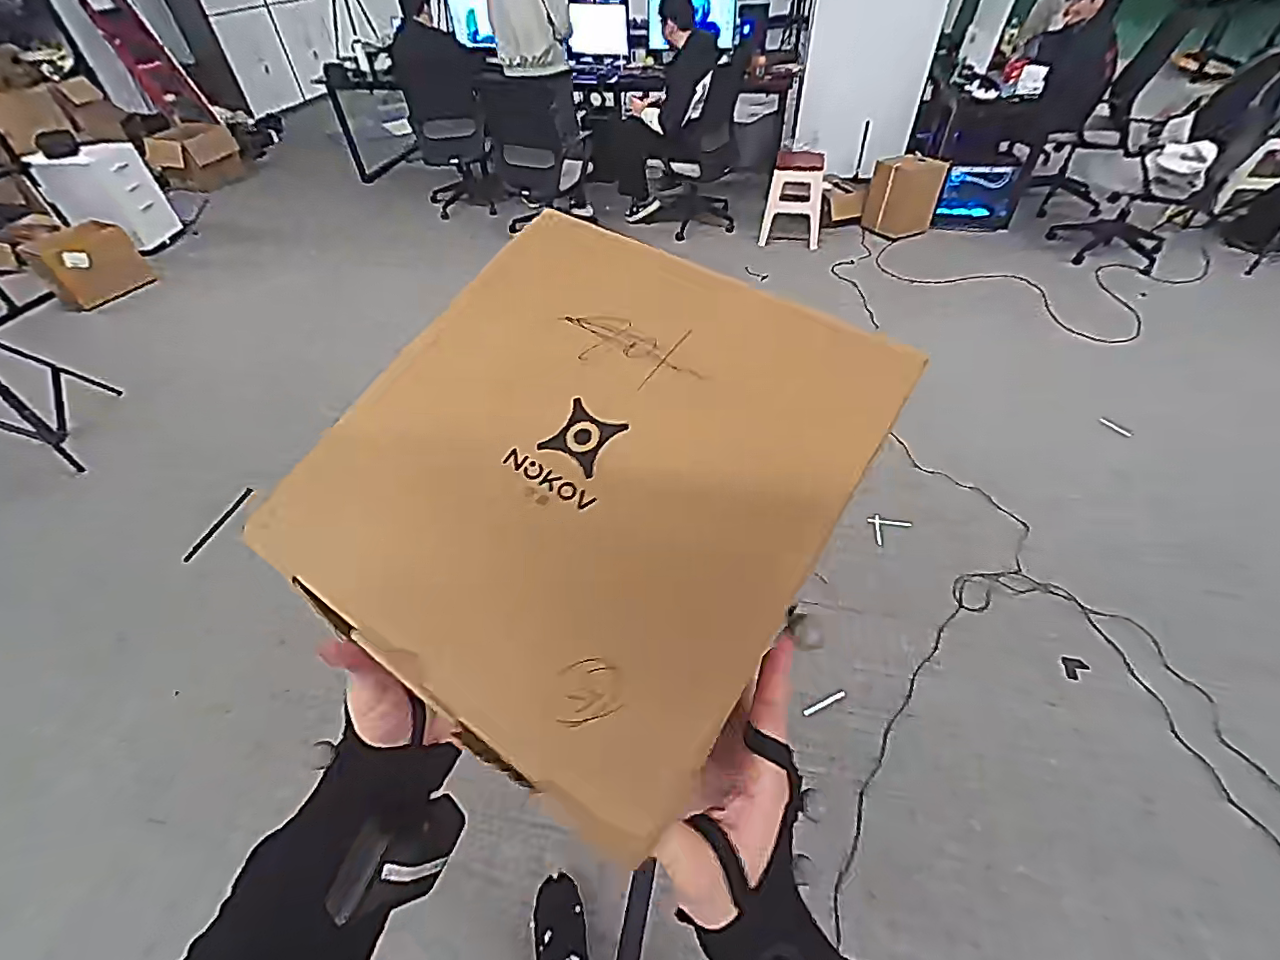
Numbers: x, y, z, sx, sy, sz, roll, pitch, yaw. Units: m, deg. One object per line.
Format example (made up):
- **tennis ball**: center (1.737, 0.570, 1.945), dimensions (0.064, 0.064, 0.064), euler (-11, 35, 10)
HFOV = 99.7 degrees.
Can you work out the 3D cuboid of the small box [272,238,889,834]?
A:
- **small box**: center (-0.011, 0.027, 0.265), dimensions (0.168, 0.176, 0.179), euler (27, 70, 18)
